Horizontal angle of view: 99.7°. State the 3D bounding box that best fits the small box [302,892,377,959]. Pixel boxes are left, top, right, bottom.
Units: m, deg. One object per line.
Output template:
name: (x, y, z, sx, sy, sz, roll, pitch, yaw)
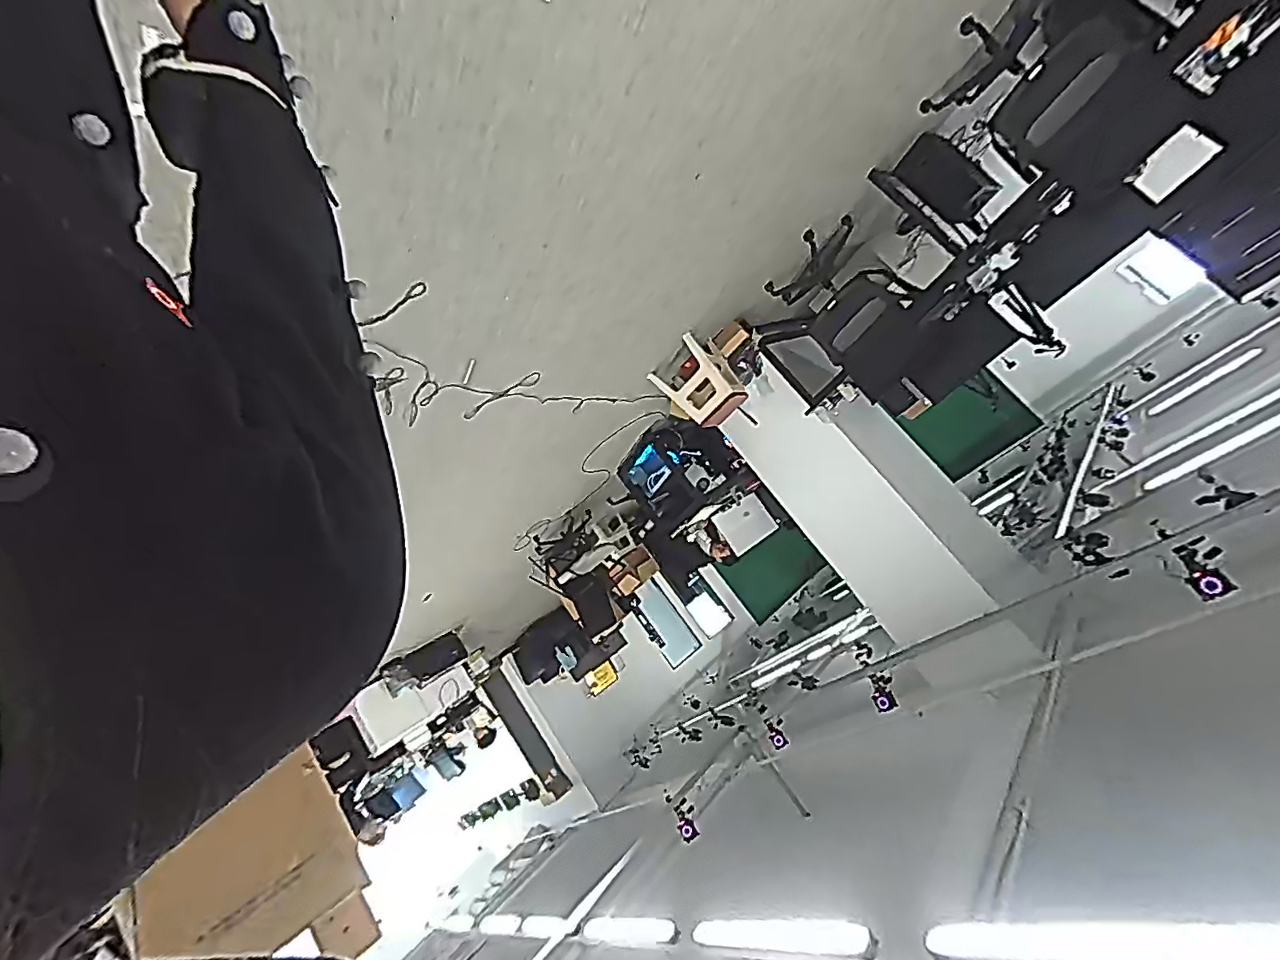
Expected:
small box: (-0.995, 1.503, 1.785, 0.168, 0.176, 0.179, -22, 159, -43)
